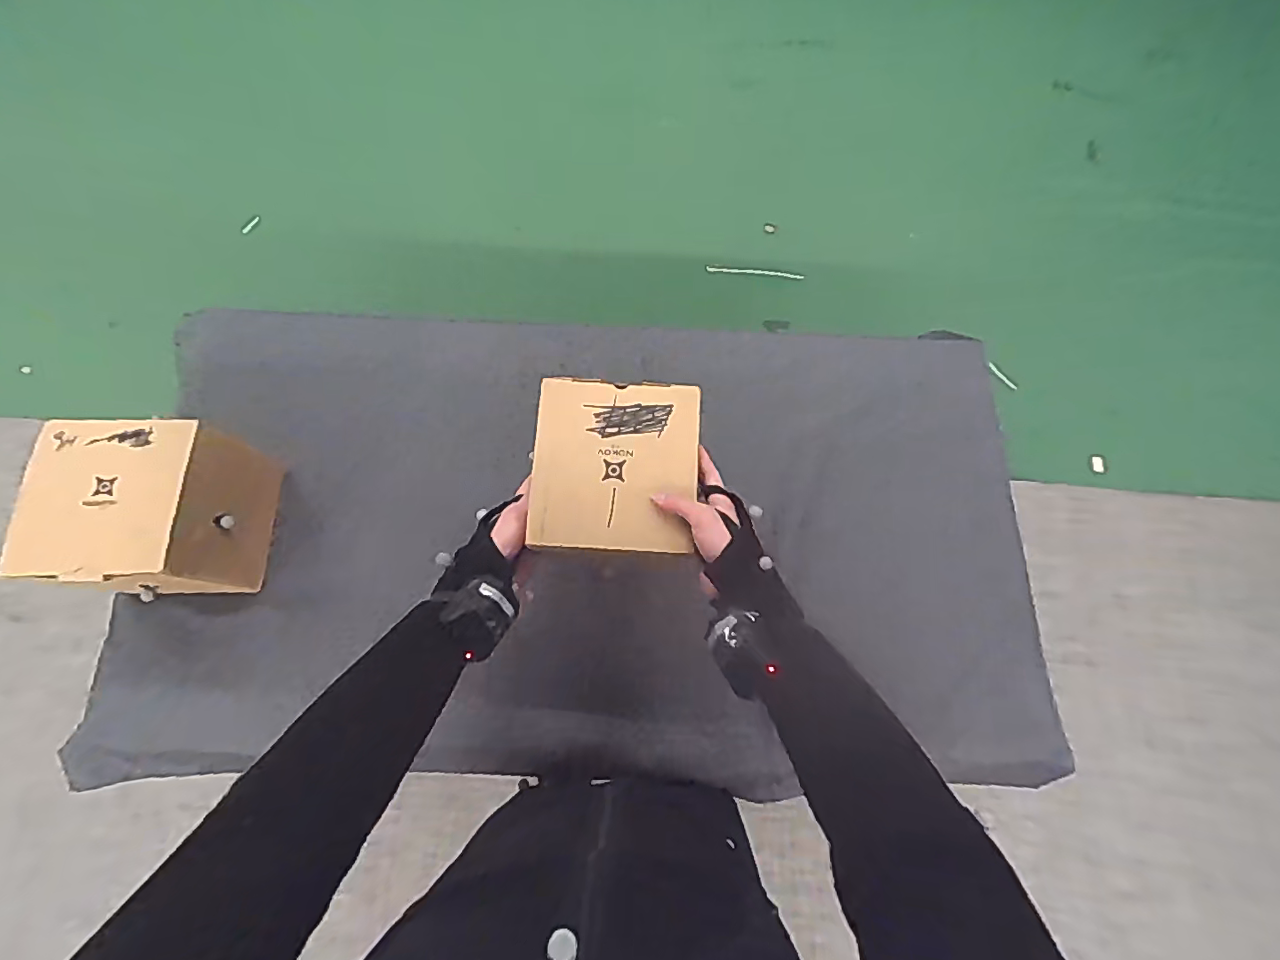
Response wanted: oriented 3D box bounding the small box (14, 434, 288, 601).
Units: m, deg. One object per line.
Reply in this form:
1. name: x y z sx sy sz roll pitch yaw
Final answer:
1. small box: -0.565 0.055 0.657 0.168 0.176 0.179 0 73 -4
